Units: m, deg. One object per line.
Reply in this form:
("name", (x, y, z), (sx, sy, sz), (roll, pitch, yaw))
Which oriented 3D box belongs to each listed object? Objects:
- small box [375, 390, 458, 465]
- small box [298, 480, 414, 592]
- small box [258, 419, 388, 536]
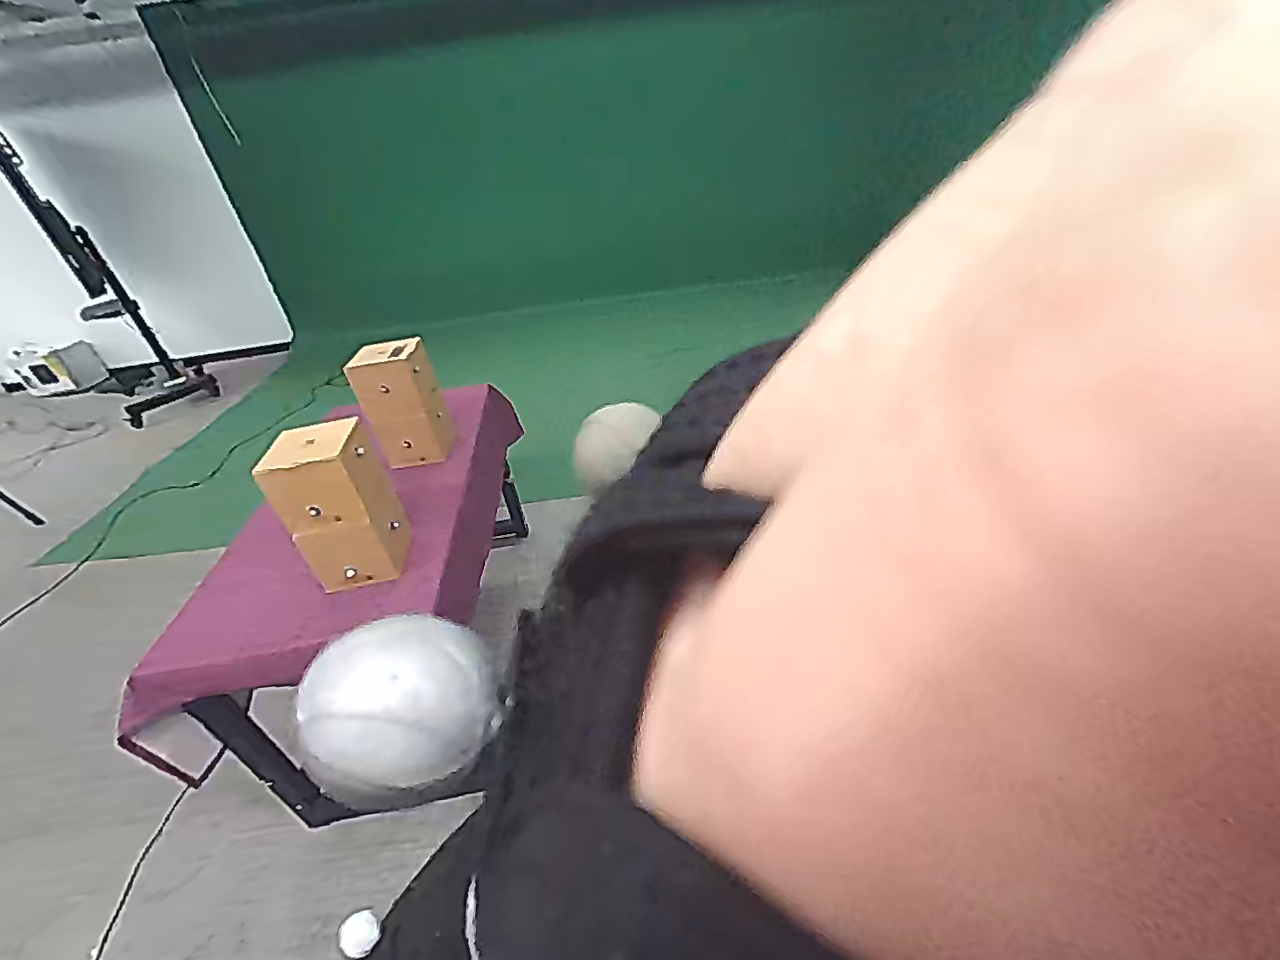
("small box", (-0.679, -0.156, 1.666), (0.168, 0.176, 0.179), (-8, 35, 1))
("small box", (-0.640, 0.128, 1.248), (0.168, 0.176, 0.179), (-12, 35, -3))
("small box", (-0.663, -0.007, 1.160), (0.168, 0.176, 0.179), (-13, 35, -4))
